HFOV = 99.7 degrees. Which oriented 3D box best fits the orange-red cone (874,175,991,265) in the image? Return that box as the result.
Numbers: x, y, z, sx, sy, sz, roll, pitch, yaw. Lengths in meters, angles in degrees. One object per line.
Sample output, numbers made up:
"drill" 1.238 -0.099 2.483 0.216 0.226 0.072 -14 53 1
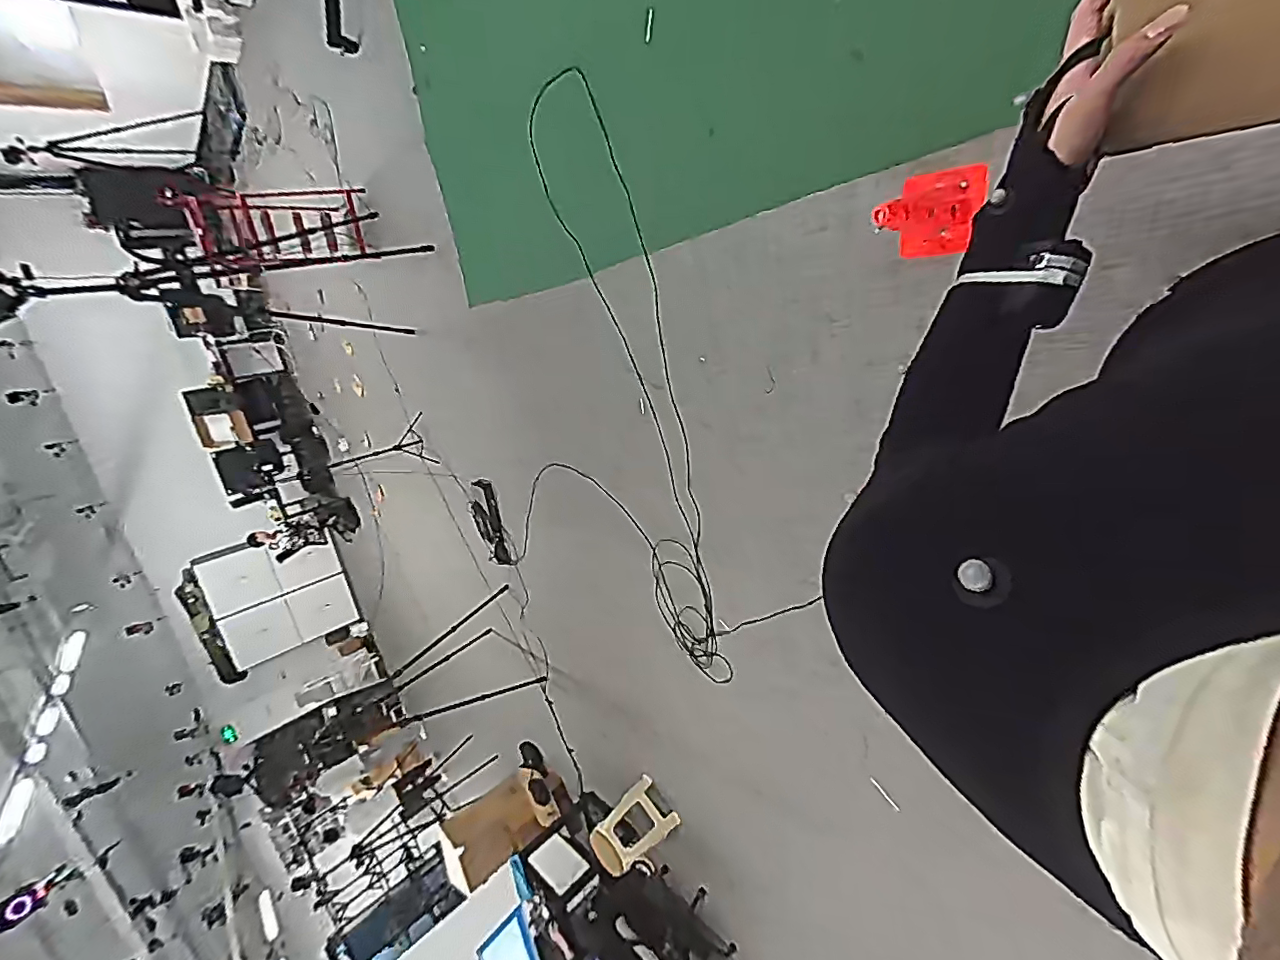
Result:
"orange-red cone" 0.656 -0.613 1.288 0.199 0.360 0.198 17 119 46
